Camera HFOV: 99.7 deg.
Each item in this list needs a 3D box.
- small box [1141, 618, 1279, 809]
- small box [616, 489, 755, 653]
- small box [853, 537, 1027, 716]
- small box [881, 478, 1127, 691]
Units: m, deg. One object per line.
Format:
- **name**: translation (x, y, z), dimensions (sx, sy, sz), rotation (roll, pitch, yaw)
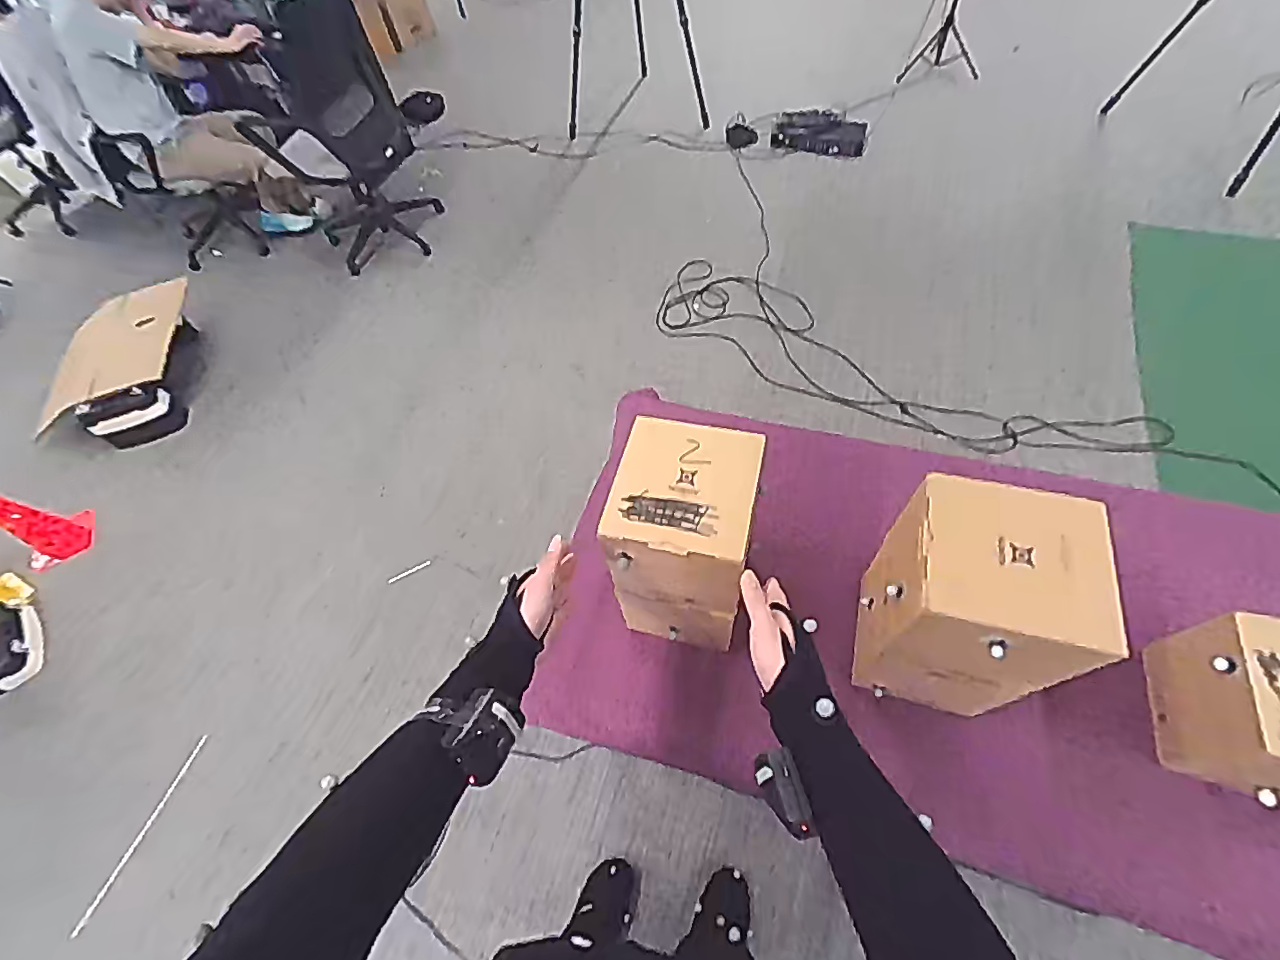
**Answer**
- **small box**: translation (0.774, 0.292, 0.657), dimensions (0.179, 0.176, 0.168), rotation (13, 59, 14)
- **small box**: translation (0.073, 0.141, 0.828), dimensions (0.168, 0.176, 0.179), rotation (11, 59, 13)
- **small box**: translation (0.404, 0.208, 0.751), dimensions (0.168, 0.176, 0.179), rotation (12, 59, 13)
- **small box**: translation (0.388, 0.123, 0.613), dimensions (0.179, 0.176, 0.168), rotation (12, 60, 13)
